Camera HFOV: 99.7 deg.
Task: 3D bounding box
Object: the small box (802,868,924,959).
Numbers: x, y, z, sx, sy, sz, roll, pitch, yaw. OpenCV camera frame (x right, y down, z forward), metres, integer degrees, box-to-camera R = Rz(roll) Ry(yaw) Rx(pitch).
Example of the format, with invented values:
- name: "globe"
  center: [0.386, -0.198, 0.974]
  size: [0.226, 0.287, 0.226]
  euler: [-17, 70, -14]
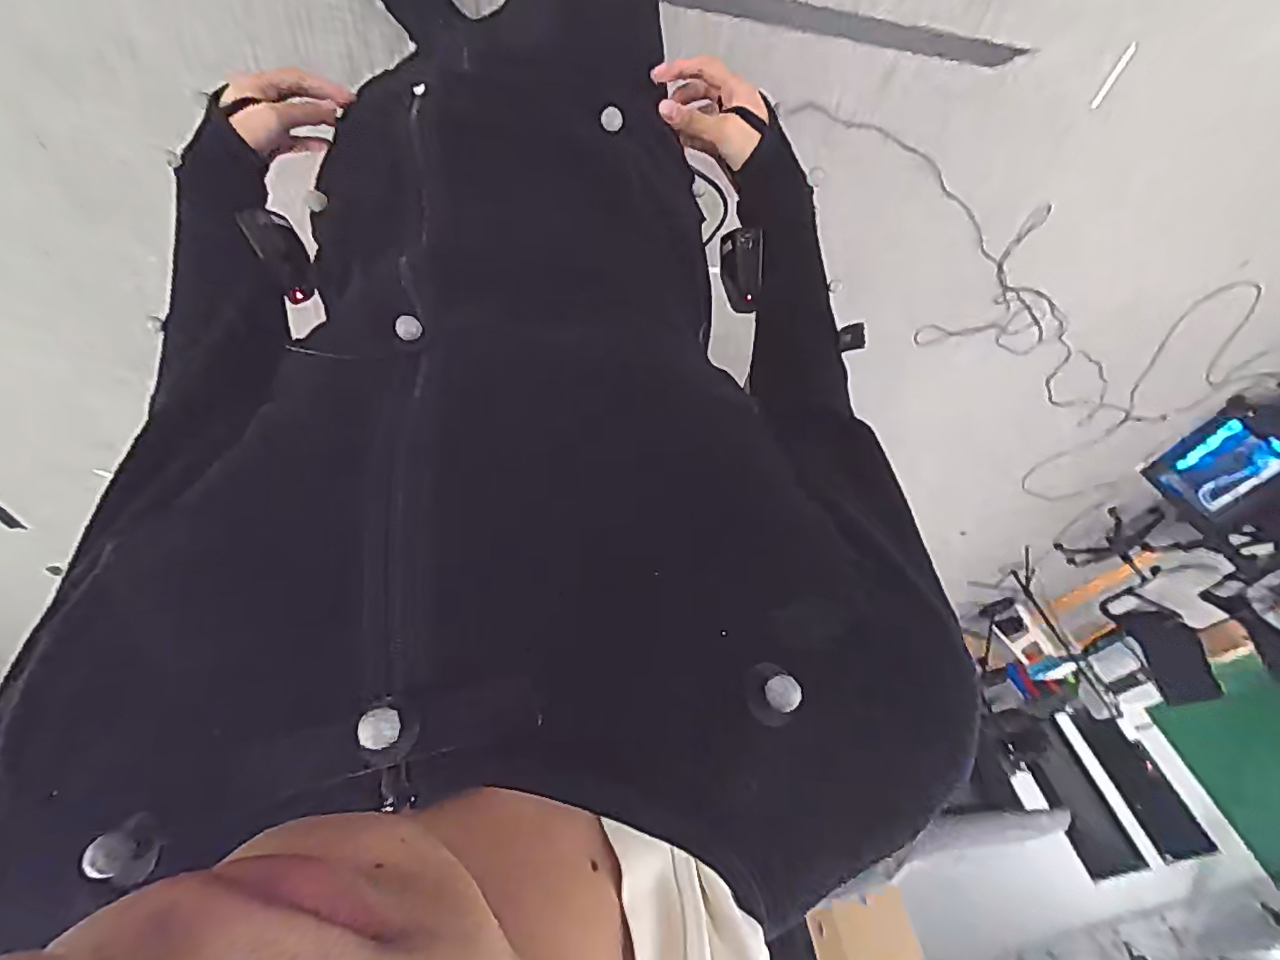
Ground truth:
- name: "small box"
  center: [0.492, 1.006, 1.227]
  size: [0.179, 0.176, 0.168]
  euler: [-3, 140, -11]
